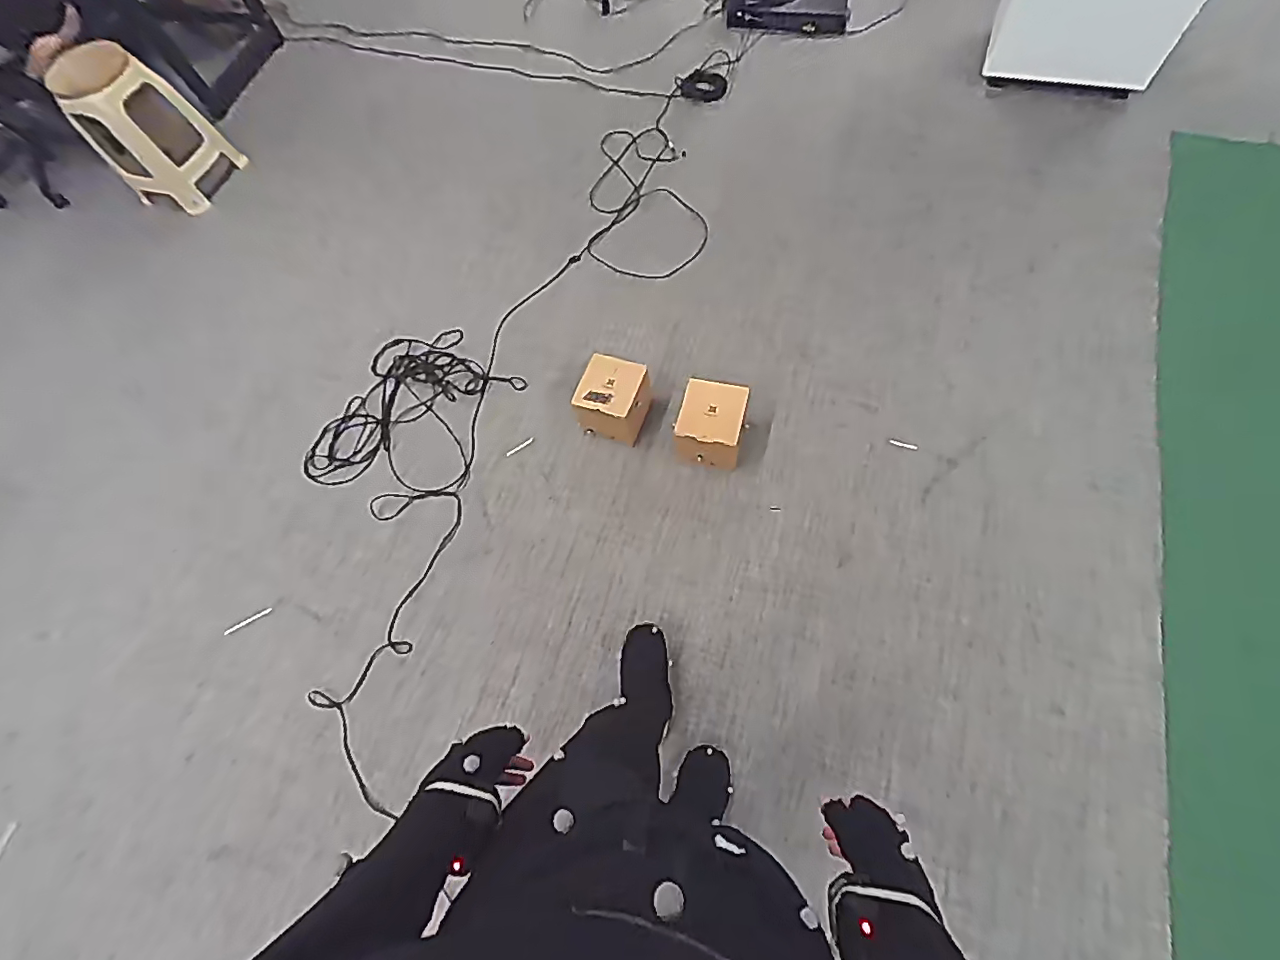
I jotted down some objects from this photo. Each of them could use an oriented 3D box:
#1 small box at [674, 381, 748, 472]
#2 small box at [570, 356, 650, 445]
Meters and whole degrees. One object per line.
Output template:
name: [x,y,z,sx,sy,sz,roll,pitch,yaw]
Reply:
small box: [0.195,-0.144,1.493,0.168,0.176,0.179,12,70,12]
small box: [-0.077,-0.223,1.559,0.168,0.176,0.179,17,70,14]
